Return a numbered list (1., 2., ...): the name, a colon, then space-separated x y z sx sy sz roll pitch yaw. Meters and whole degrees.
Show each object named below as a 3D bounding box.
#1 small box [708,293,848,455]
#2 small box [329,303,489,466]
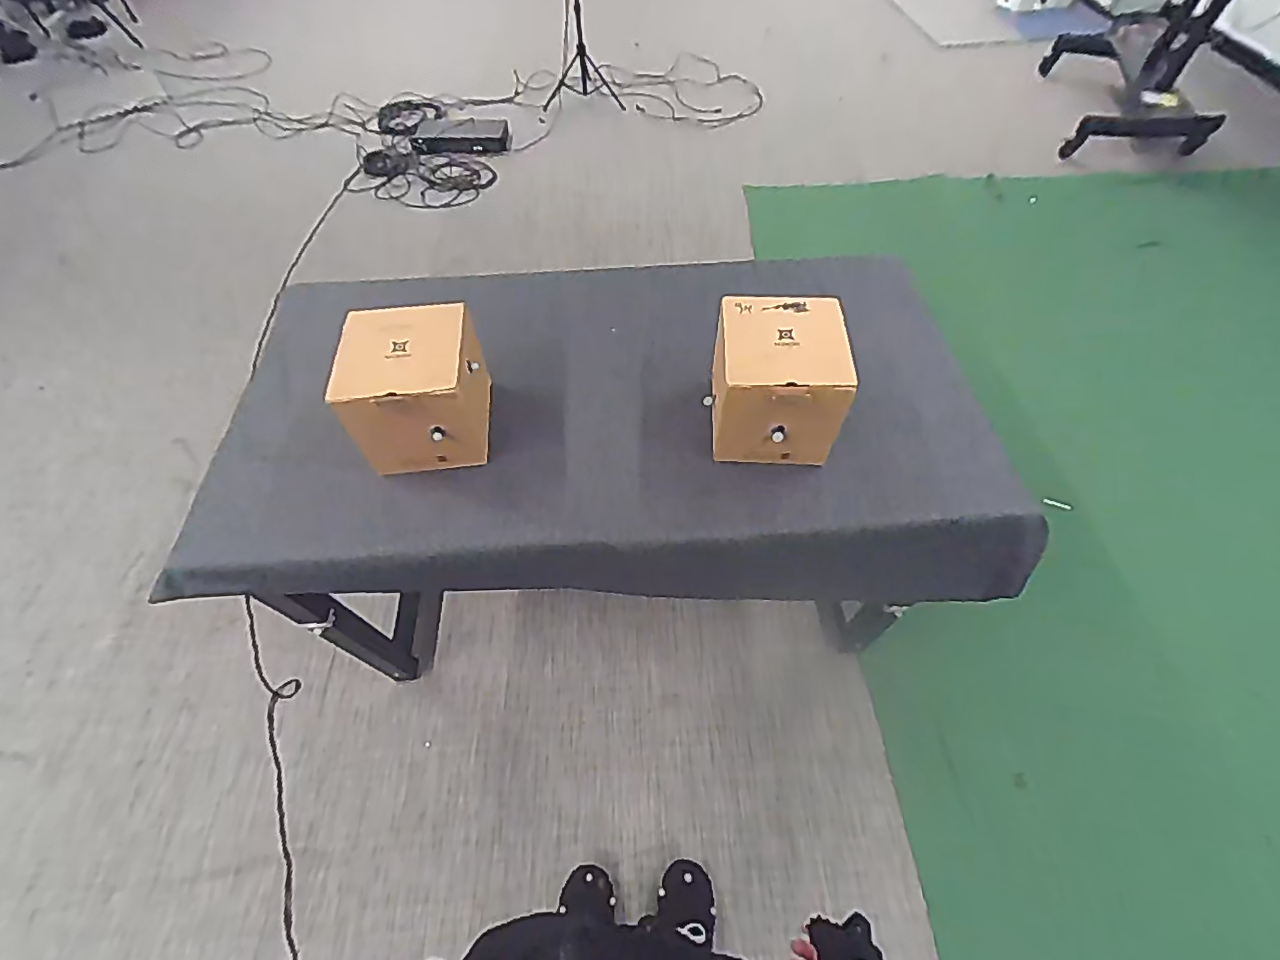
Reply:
1. small box: 0.190 -0.150 0.795 0.168 0.176 0.179 2 58 3
2. small box: -0.327 -0.133 0.804 0.168 0.176 0.179 -7 56 -4
